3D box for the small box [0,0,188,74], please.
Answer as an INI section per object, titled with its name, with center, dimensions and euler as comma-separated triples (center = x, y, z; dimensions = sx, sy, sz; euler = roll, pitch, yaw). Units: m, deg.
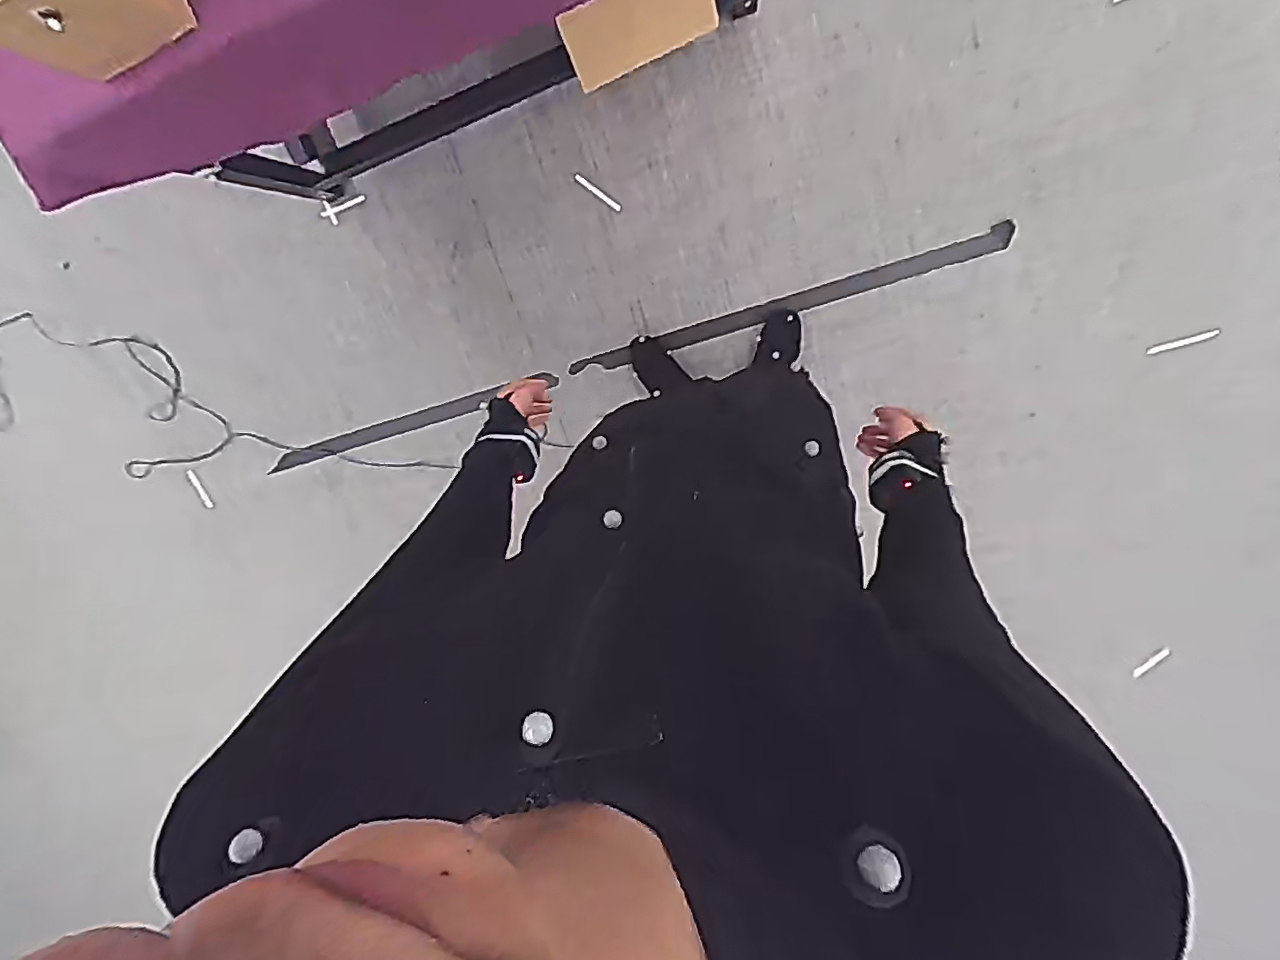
[small box]
center = -0.694, -0.614, 0.624
dimensions = 0.179, 0.176, 0.168
euler = -17, 108, 11
